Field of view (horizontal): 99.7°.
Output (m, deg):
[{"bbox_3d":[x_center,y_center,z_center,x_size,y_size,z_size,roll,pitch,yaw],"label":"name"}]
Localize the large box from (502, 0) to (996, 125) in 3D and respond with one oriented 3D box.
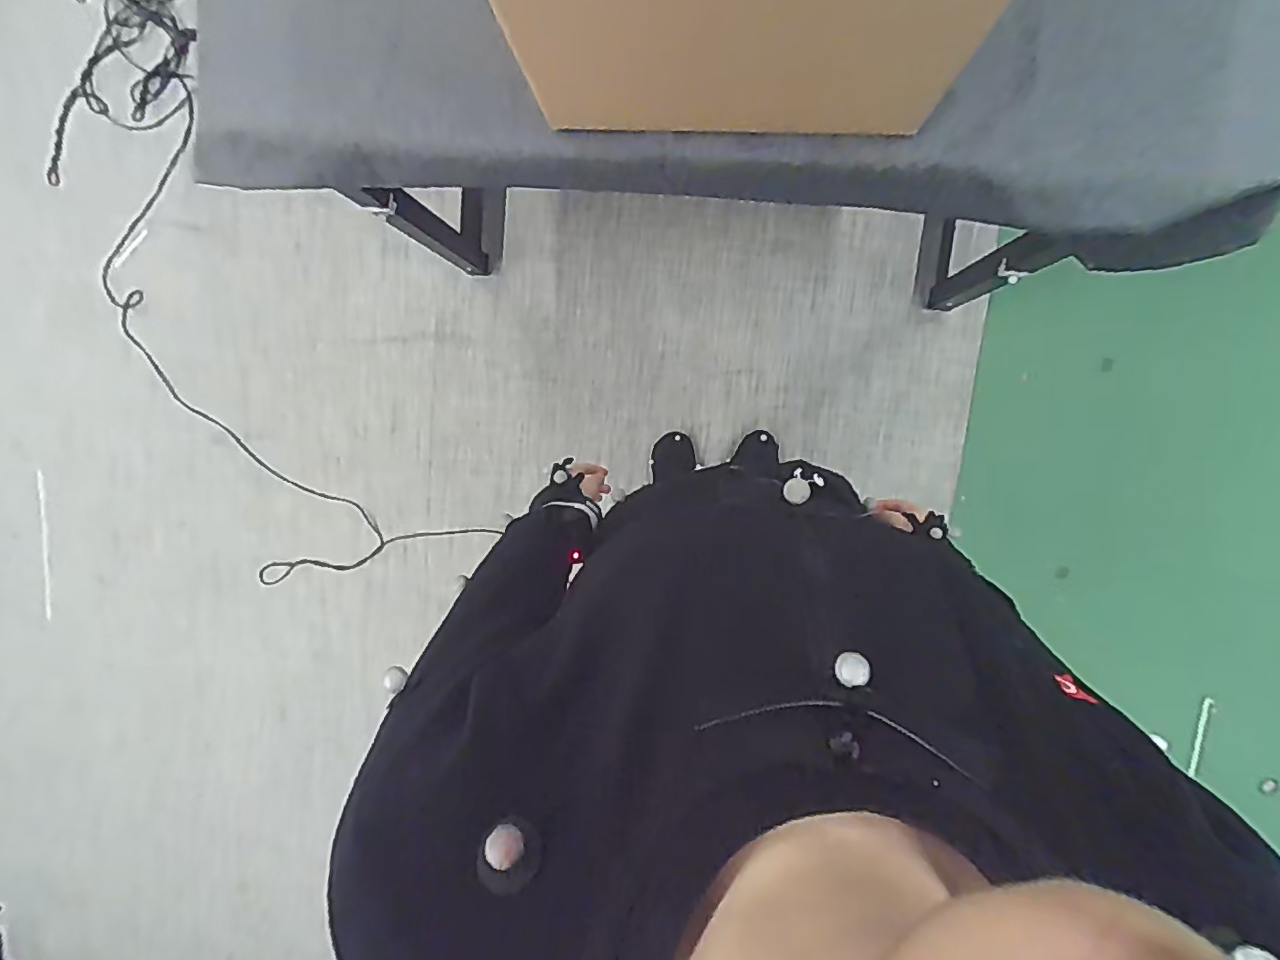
[{"bbox_3d":[0.089,-0.531,0.435,0.408,0.320,0.320,4,96,5],"label":"large box"}]
